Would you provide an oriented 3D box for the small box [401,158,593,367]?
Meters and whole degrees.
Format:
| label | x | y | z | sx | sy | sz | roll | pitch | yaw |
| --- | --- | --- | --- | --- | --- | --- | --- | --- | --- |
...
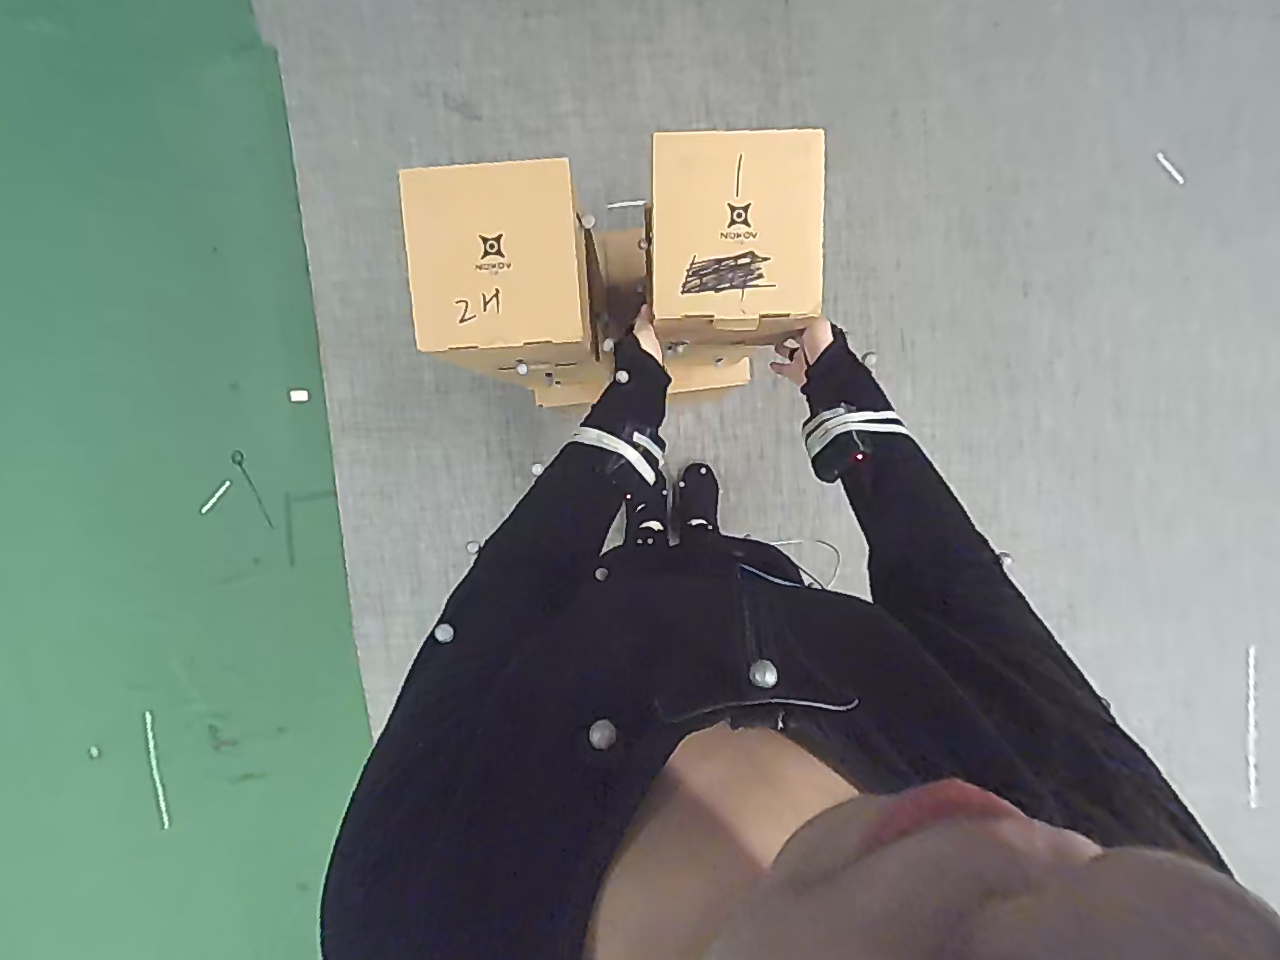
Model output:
| label | x | y | z | sx | sy | sz | roll | pitch | yaw |
| --- | --- | --- | --- | --- | --- | --- | --- | --- | --- |
| small box | -0.144 | -0.227 | 0.605 | 0.168 | 0.176 | 0.179 | -3 | 96 | 1 |

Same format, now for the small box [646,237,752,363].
| label | x | y | z | sx | sy | sz | roll | pitch | yaw |
| --- | --- | --- | --- | --- | --- | --- | --- | --- | --- |
| small box | 0.097 | -0.295 | 0.923 | 0.168 | 0.176 | 0.179 | -2 | 95 | 2 |

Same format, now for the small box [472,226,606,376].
| label | x | y | z | sx | sy | sz | roll | pitch | yaw |
| --- | --- | --- | --- | --- | --- | --- | --- | --- | --- |
| small box | -0.140 | -0.241 | 0.770 | 0.168 | 0.176 | 0.179 | -3 | 97 | 0 |

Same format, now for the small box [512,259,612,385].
| label | x | y | z | sx | sy | sz | roll | pitch | yaw |
| --- | --- | --- | --- | --- | --- | --- | --- | --- | --- |
| small box | -0.139 | -0.263 | 0.932 | 0.168 | 0.176 | 0.179 | -5 | 96 | 1 |
